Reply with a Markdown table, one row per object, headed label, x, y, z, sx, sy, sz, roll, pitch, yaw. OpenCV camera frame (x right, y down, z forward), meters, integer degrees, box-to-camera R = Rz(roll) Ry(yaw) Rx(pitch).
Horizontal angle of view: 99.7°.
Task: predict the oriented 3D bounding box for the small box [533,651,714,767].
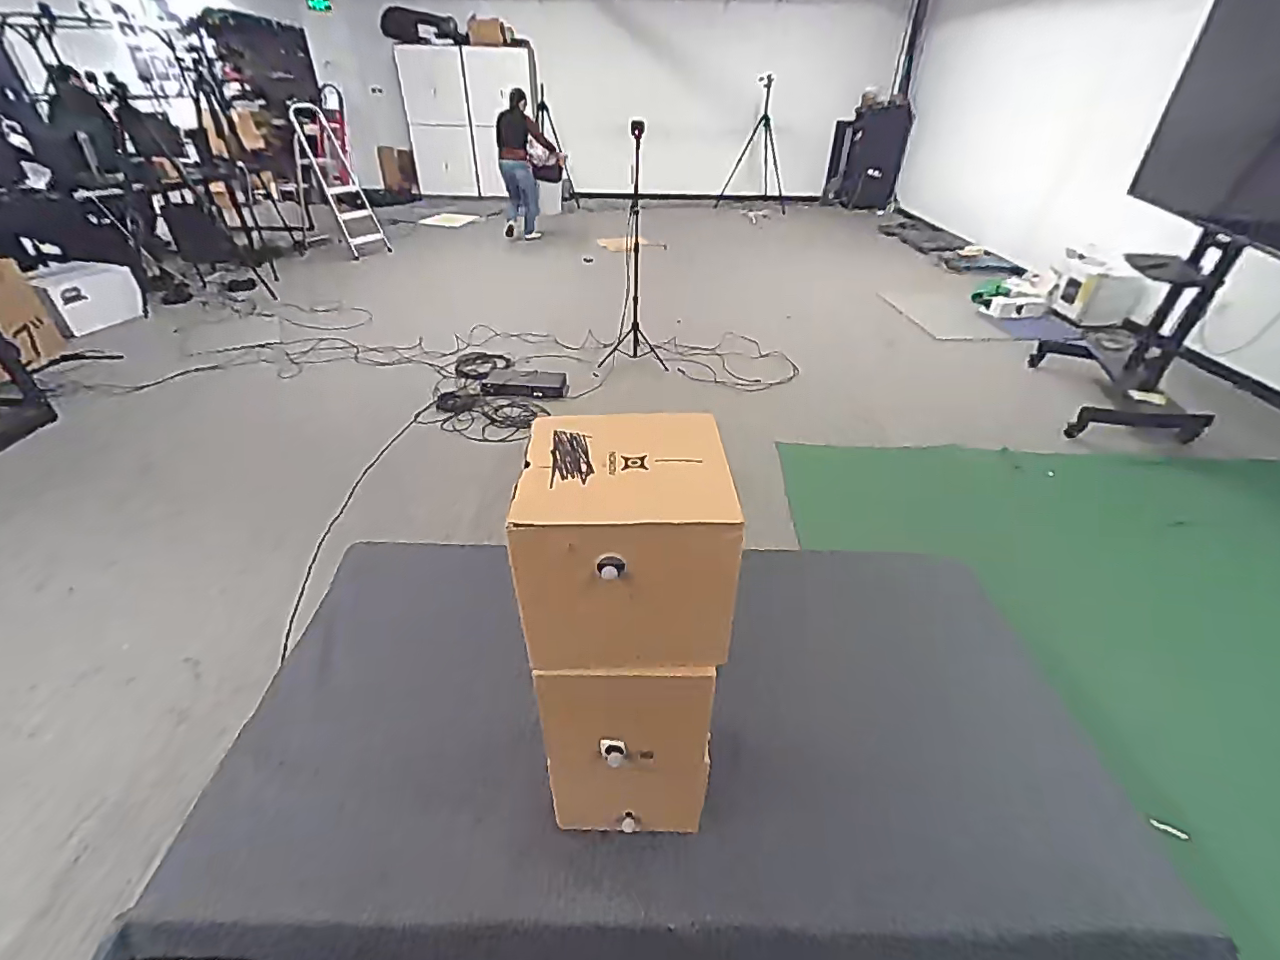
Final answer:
| label | x | y | z | sx | sy | sz | roll | pitch | yaw |
| --- | --- | --- | --- | --- | --- | --- | --- | --- | --- |
| small box | -0.012 | 0.186 | 0.595 | 0.168 | 0.176 | 0.179 | -1 | 37 | 2 |

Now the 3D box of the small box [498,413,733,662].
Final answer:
| label | x | y | z | sx | sy | sz | roll | pitch | yaw |
| --- | --- | --- | --- | --- | --- | --- | --- | --- | --- |
| small box | -0.016 | 0.051 | 0.500 | 0.179 | 0.176 | 0.168 | -1 | 36 | 0 |

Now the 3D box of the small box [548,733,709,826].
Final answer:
| label | x | y | z | sx | sy | sz | roll | pitch | yaw |
| --- | --- | --- | --- | --- | --- | --- | --- | --- | --- |
| small box | -0.011 | 0.317 | 0.690 | 0.179 | 0.176 | 0.168 | 2 | 36 | 1 |
